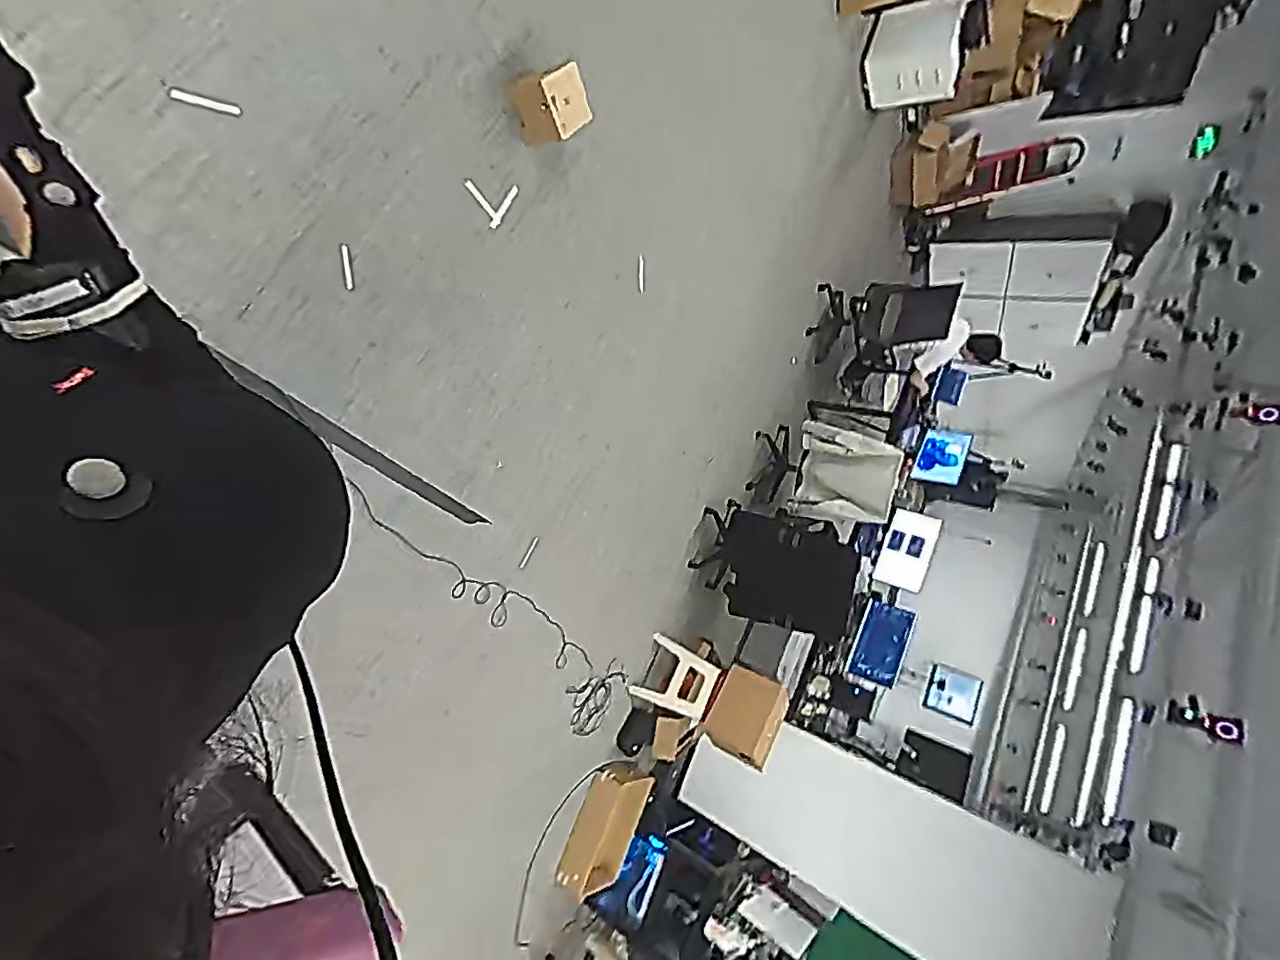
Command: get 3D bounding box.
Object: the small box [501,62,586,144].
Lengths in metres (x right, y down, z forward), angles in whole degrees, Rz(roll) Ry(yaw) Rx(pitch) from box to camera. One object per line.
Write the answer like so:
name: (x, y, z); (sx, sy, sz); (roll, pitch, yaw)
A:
small box: (-0.309, -1.207, 1.734); (0.179, 0.176, 0.168); (-55, 143, -28)
